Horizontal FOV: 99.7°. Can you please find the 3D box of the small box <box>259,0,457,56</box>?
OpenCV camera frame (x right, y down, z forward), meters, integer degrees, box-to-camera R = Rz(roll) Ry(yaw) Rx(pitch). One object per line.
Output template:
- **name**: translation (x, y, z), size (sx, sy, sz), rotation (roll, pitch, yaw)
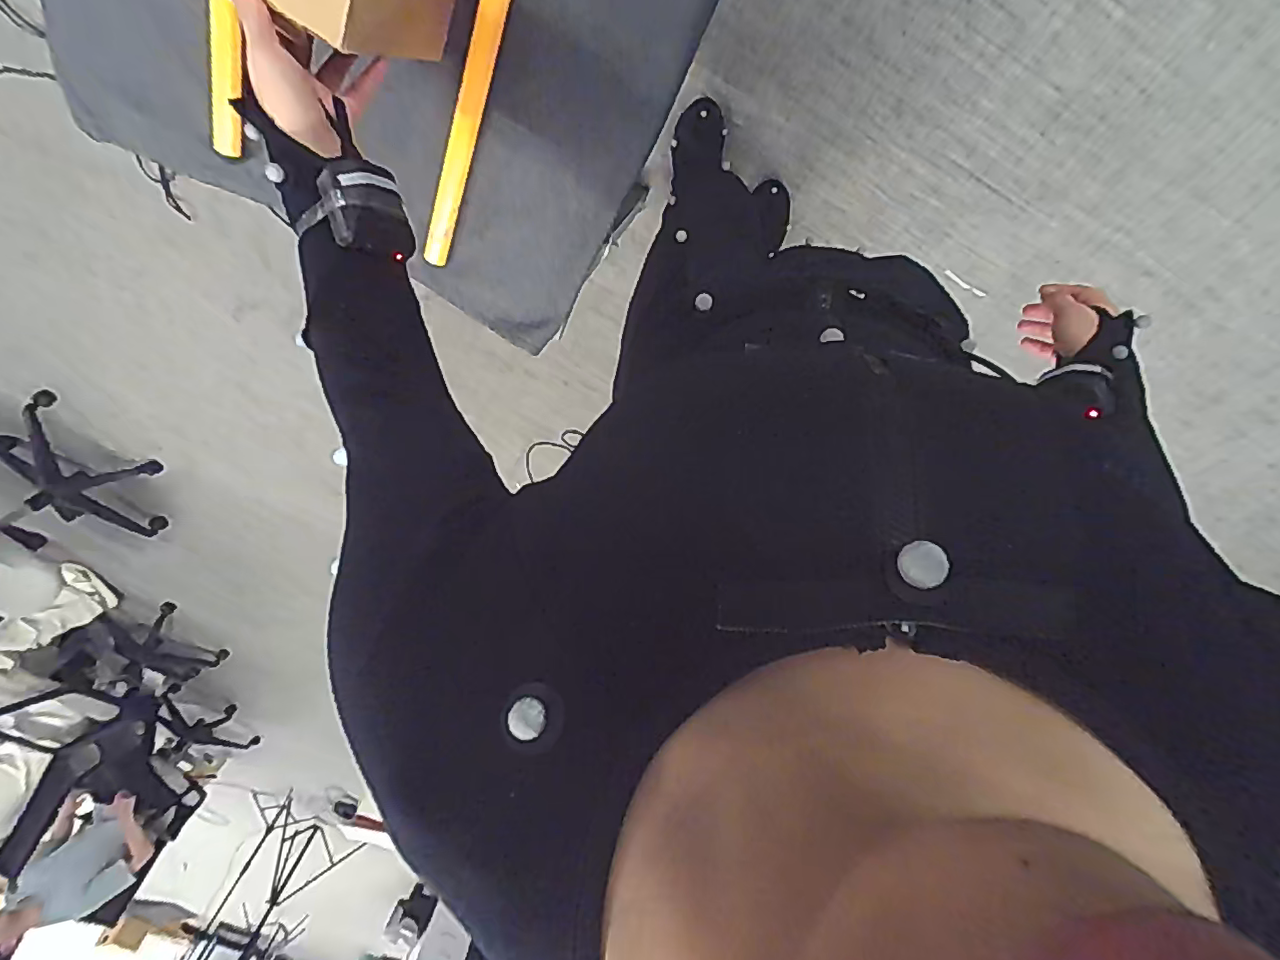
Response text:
- **small box**: translation (-0.237, -0.464, 0.413), size (0.168, 0.176, 0.179), rotation (28, 125, -11)
